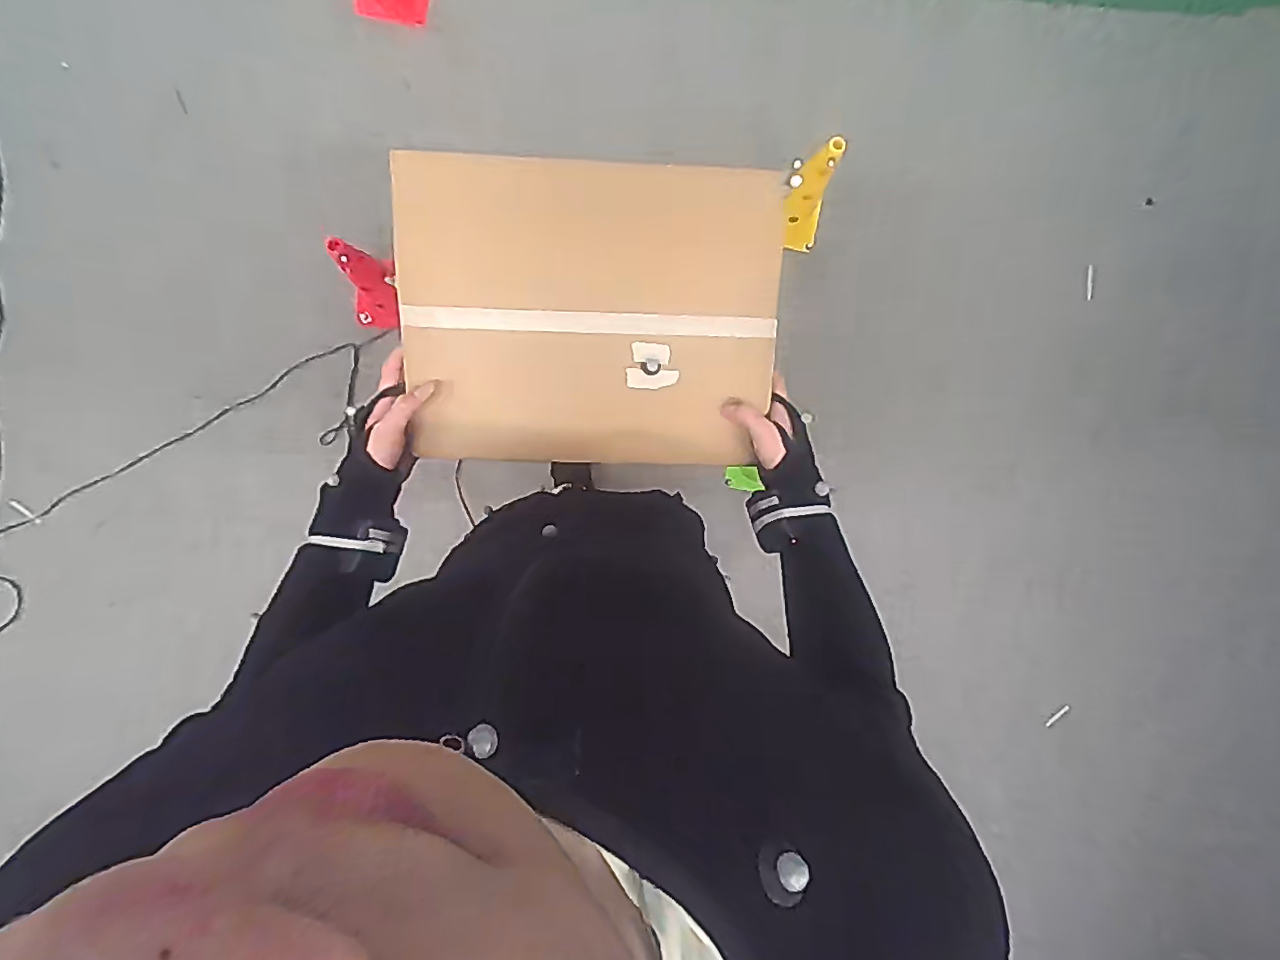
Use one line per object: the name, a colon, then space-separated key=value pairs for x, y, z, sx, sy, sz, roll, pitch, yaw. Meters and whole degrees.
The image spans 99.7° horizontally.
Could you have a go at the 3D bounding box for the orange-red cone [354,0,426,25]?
orange-red cone: x=-0.689 y=-1.398 z=1.362 sx=0.199 sy=0.360 sz=0.198 roll=9 pitch=90 yaw=-3

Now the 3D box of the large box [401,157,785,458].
large box: x=-0.057 y=-0.213 z=0.737 sx=0.408 sy=0.320 sz=0.320 roll=1 pitch=105 yaw=-4

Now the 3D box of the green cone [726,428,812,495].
green cone: x=0.388 y=-0.060 z=1.495 sx=0.200 sy=0.368 sz=0.202 roll=7 pitch=90 yaw=-5
